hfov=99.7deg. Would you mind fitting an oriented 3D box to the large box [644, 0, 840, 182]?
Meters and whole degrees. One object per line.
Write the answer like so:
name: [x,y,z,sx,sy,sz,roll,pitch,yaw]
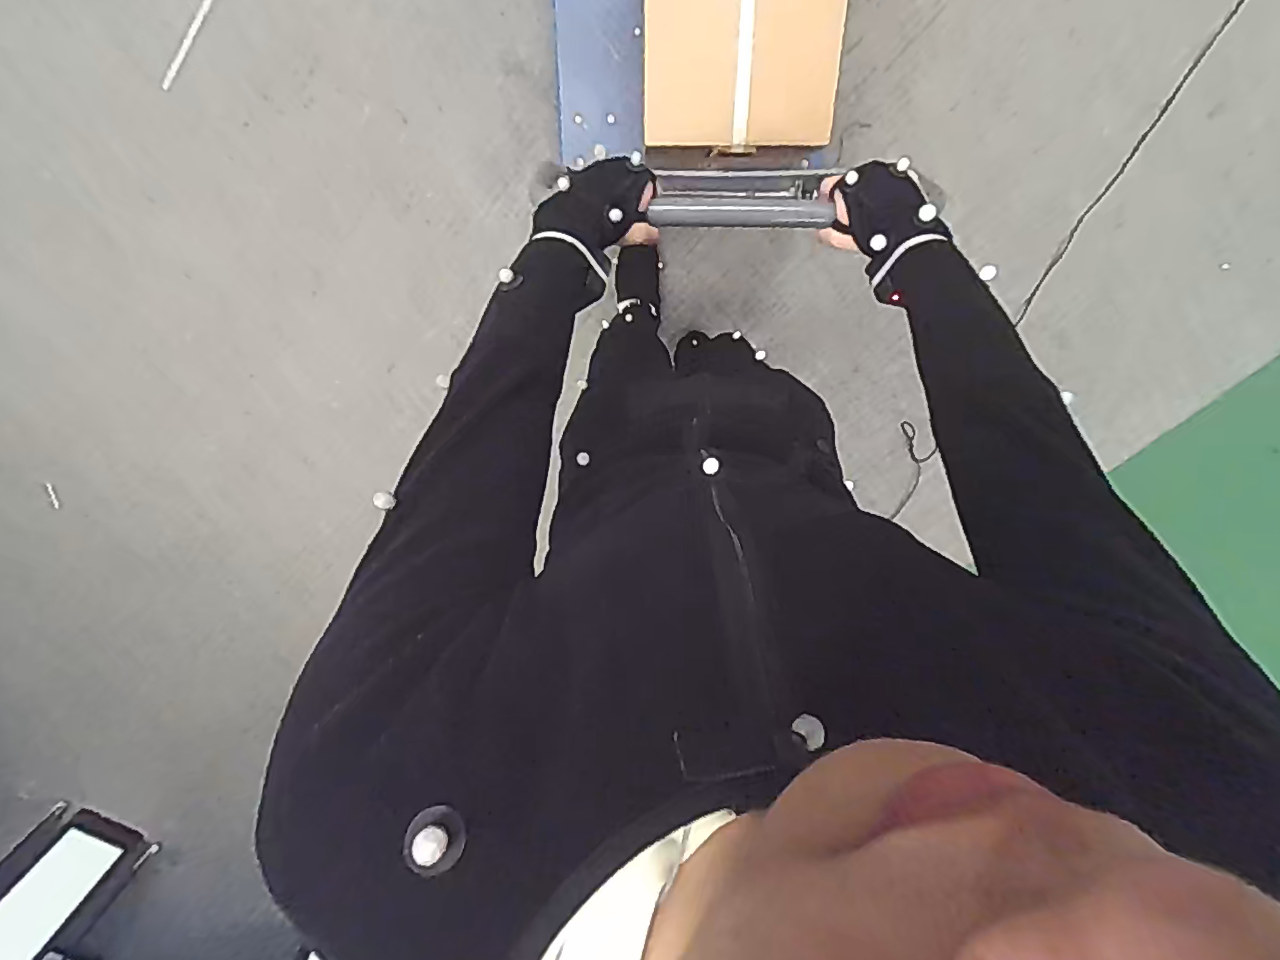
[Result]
large box: [0.165,-0.796,0.996,0.320,0.320,0.408,0,113,0]
